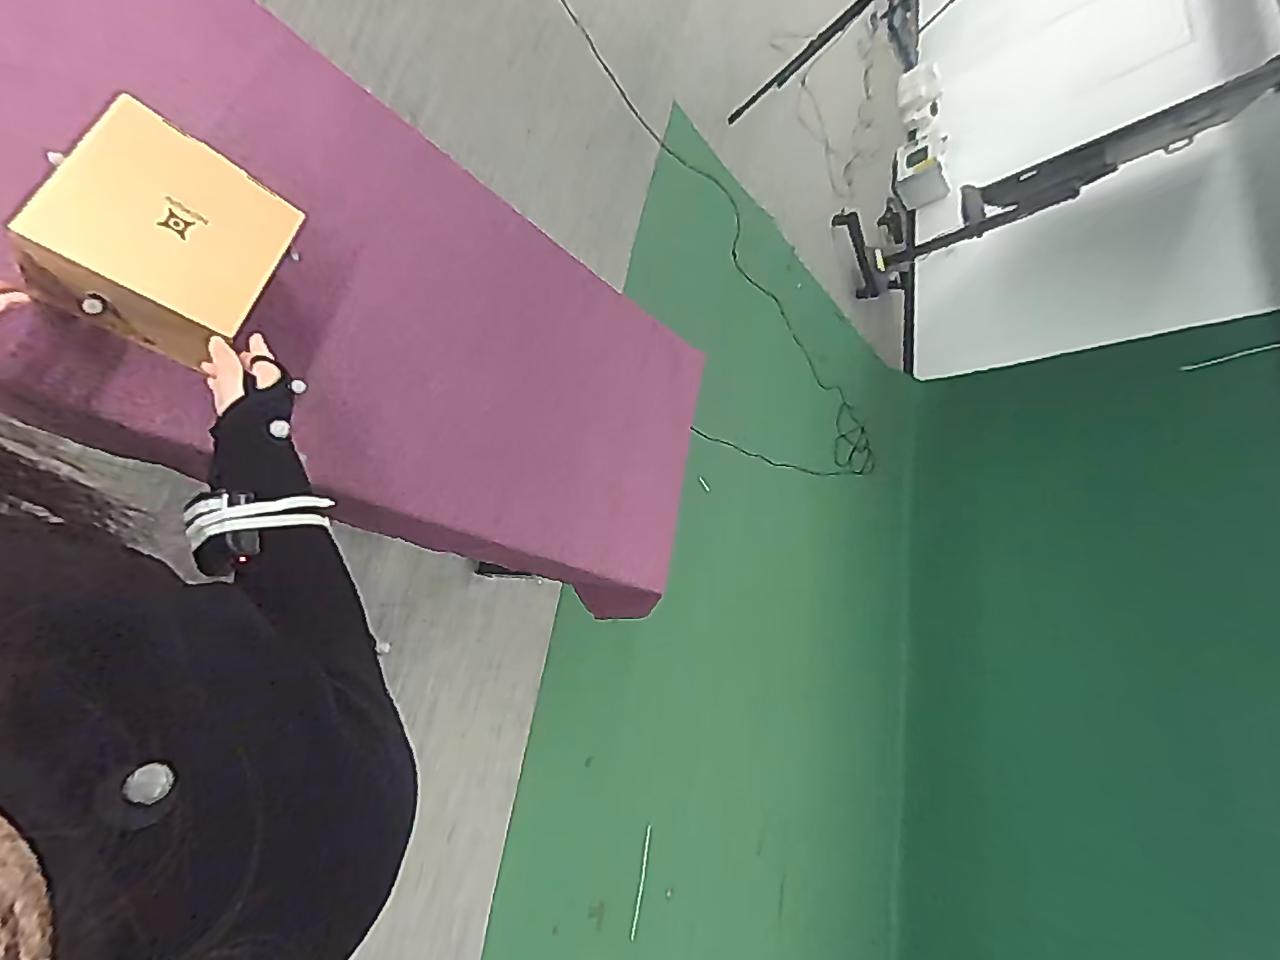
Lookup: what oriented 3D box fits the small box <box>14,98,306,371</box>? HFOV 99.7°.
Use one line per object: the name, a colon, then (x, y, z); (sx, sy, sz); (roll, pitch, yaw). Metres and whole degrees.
small box: (-0.502, -0.243, 0.585); (0.168, 0.176, 0.179); (31, 63, -38)
